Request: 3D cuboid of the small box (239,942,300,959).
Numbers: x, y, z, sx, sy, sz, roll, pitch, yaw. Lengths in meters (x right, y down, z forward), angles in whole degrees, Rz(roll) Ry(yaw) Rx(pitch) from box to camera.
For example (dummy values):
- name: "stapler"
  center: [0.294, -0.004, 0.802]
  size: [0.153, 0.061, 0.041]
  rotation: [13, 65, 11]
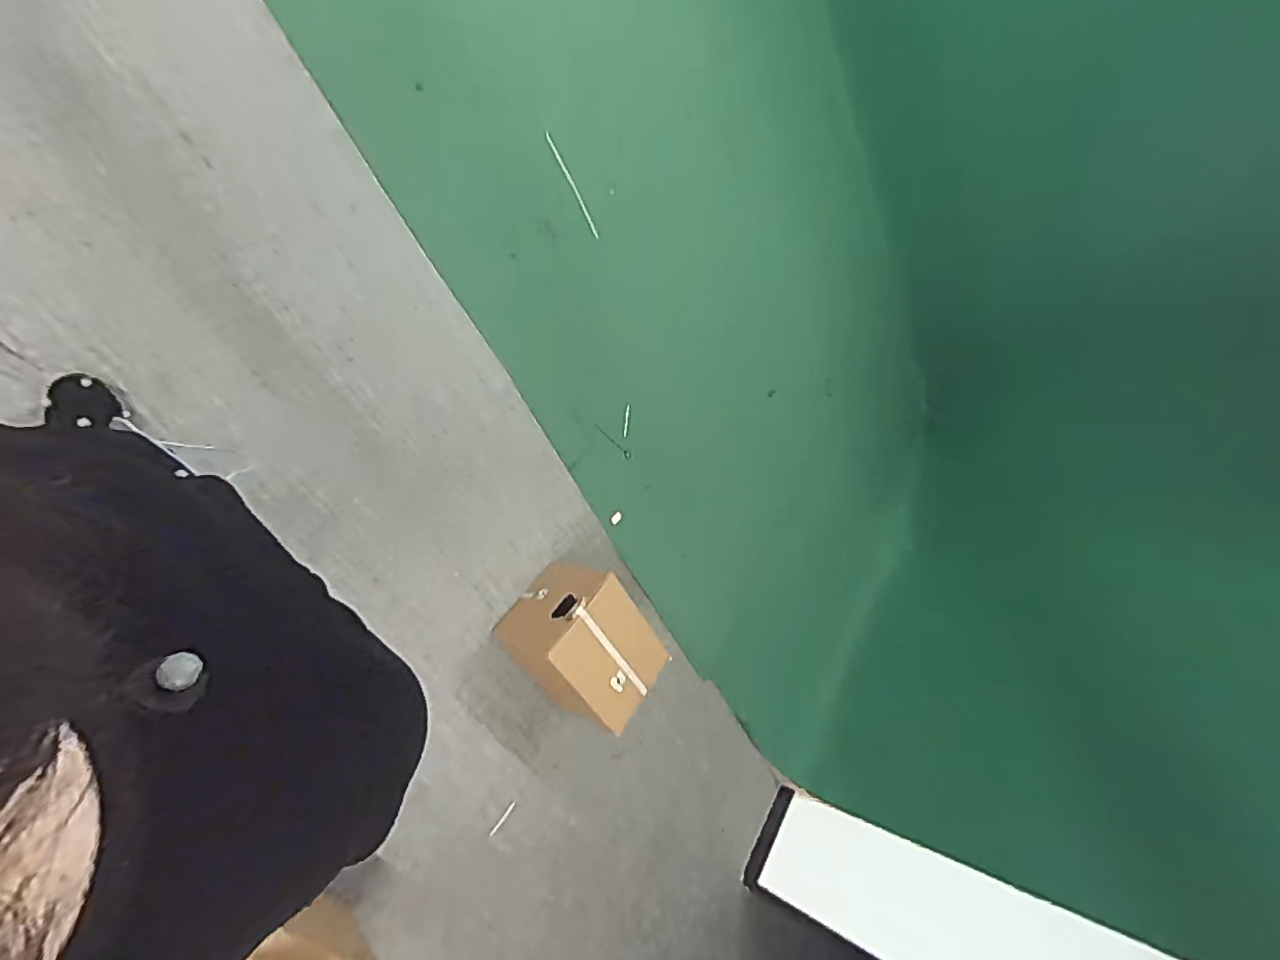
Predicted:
- name: "small box"
  center: [-0.674, 0.978, 0.946]
  size: [0.179, 0.176, 0.168]
  rotation: [-52, 123, -32]

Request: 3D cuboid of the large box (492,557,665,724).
- name: "large box"
  center: [-0.193, 0.505, 1.748]
  size: [0.320, 0.320, 0.408]
  rotation: [-50, 123, -32]
